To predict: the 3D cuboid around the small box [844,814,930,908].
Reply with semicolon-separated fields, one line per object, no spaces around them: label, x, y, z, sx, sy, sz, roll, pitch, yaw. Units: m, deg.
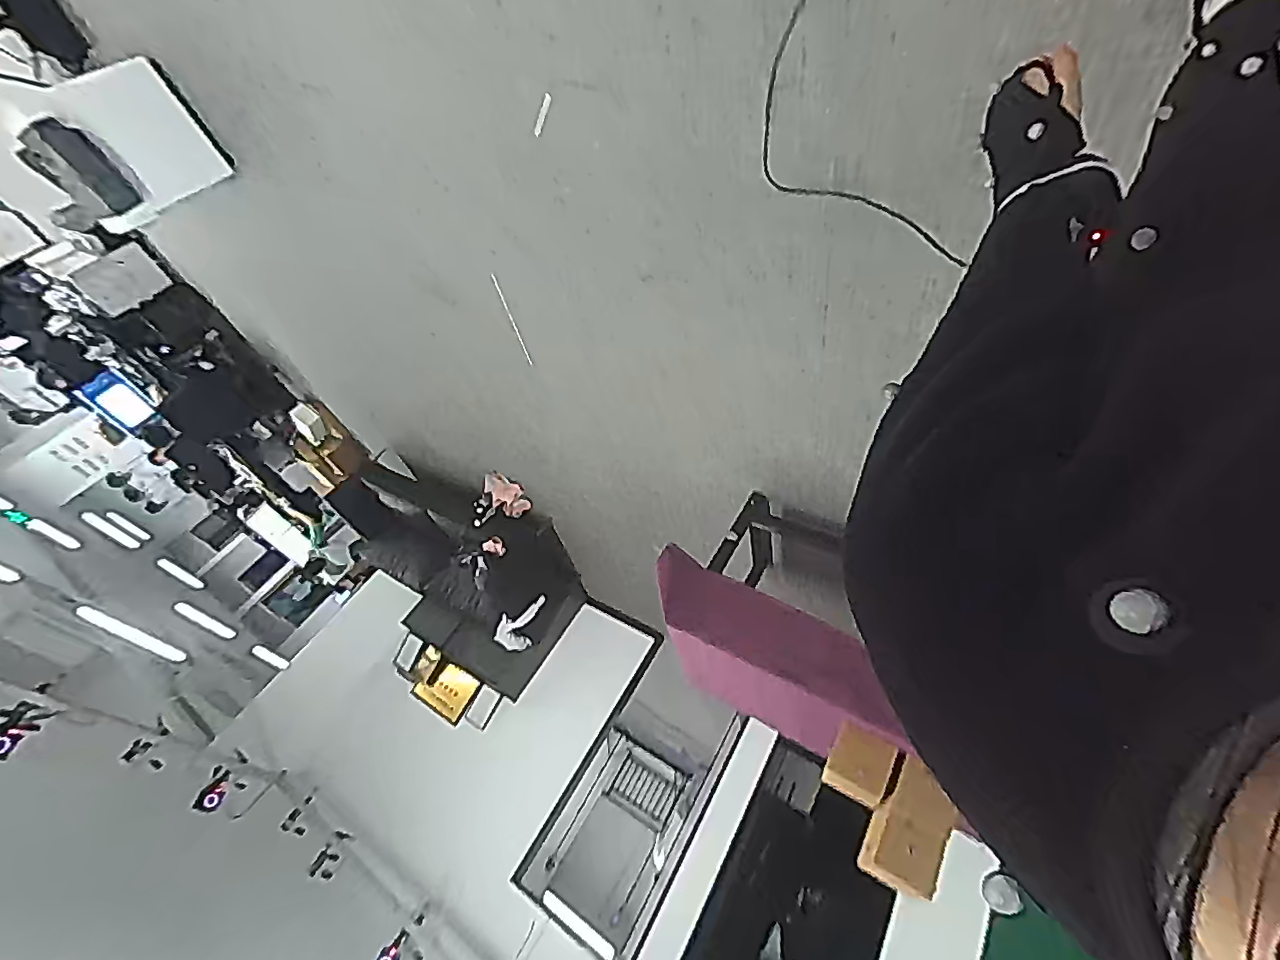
small box;0.732;1.120;1.598;0.168;0.176;0.179;26;148;20
